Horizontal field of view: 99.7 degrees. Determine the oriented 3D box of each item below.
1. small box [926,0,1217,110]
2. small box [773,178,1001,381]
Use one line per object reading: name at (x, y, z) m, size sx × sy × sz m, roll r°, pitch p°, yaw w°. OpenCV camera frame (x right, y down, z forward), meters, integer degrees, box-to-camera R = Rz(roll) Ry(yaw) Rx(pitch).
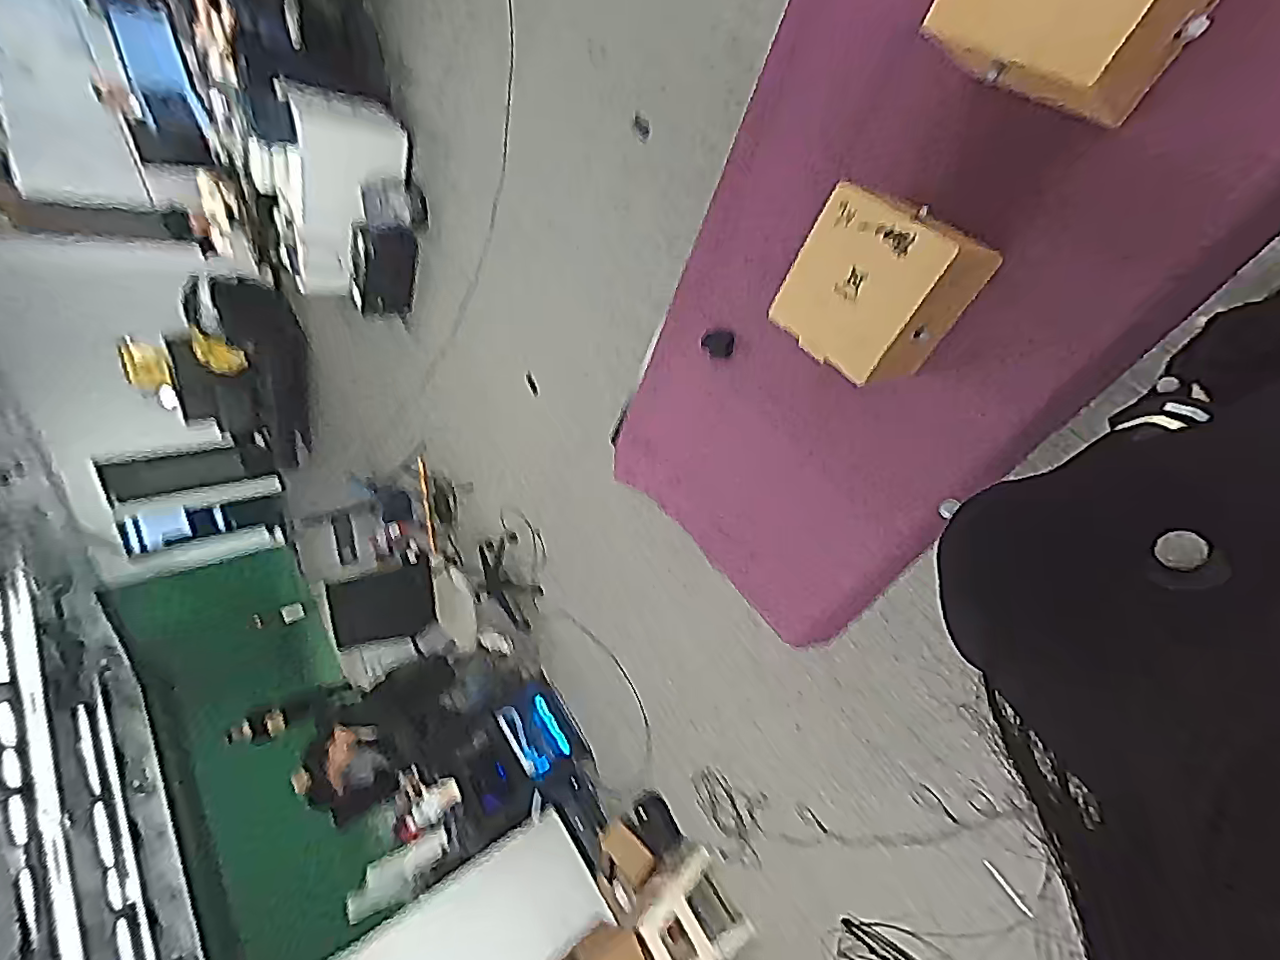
small box at (0.414, -0.470, 0.493) m, size 0.179 × 0.176 × 0.168 m, roll 48°, pitch 134°, yaw 27°
small box at (0.310, -0.249, 0.685) m, size 0.168 × 0.176 × 0.179 m, roll 48°, pitch 134°, yaw 27°
